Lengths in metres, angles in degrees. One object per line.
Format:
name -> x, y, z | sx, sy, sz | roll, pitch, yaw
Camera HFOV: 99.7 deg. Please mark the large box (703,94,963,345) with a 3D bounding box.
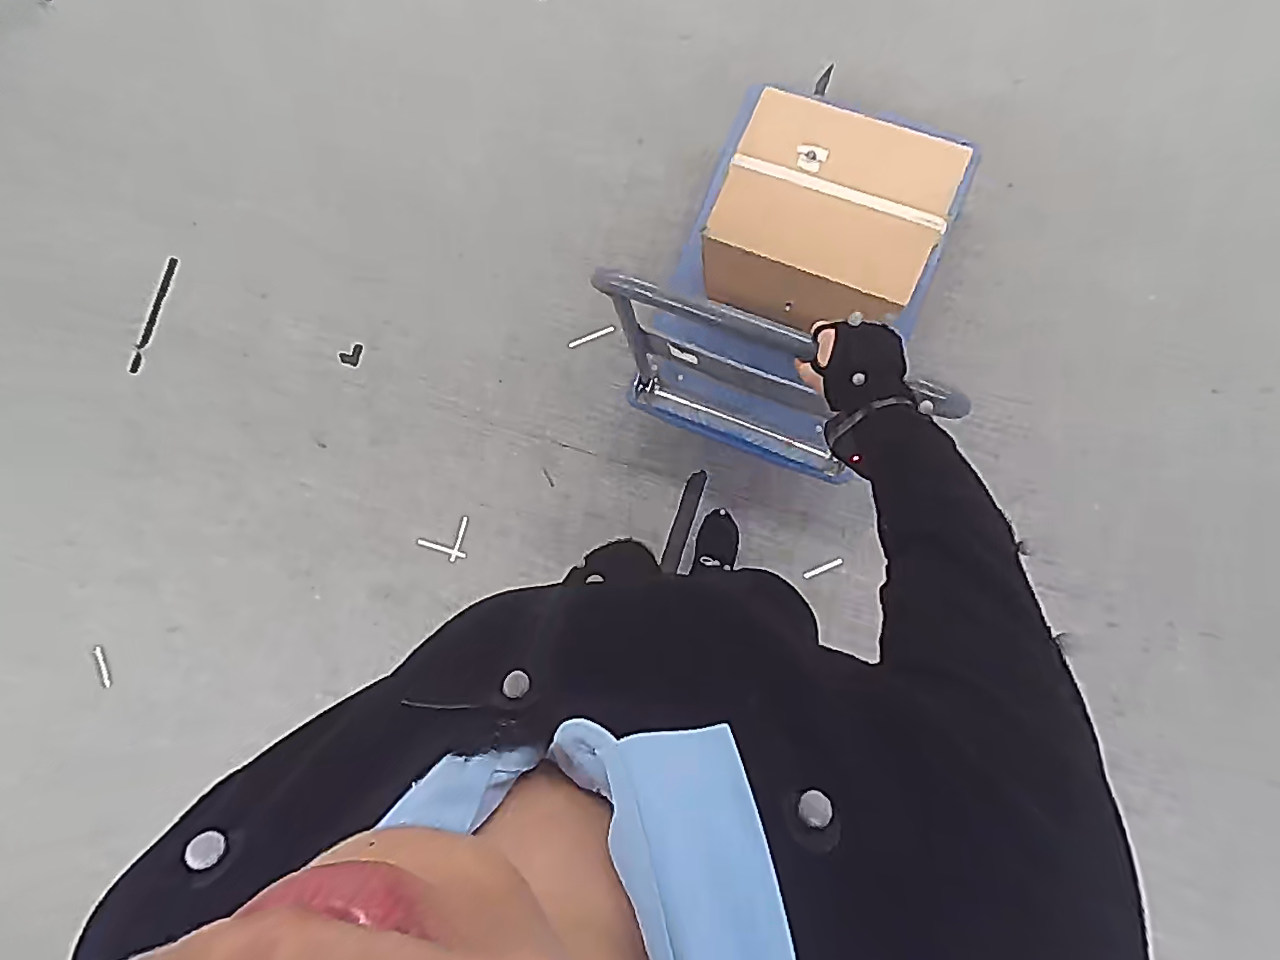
large box -> 0.384, -0.535, 1.171 | 0.408, 0.320, 0.320 | 23, 89, 10
